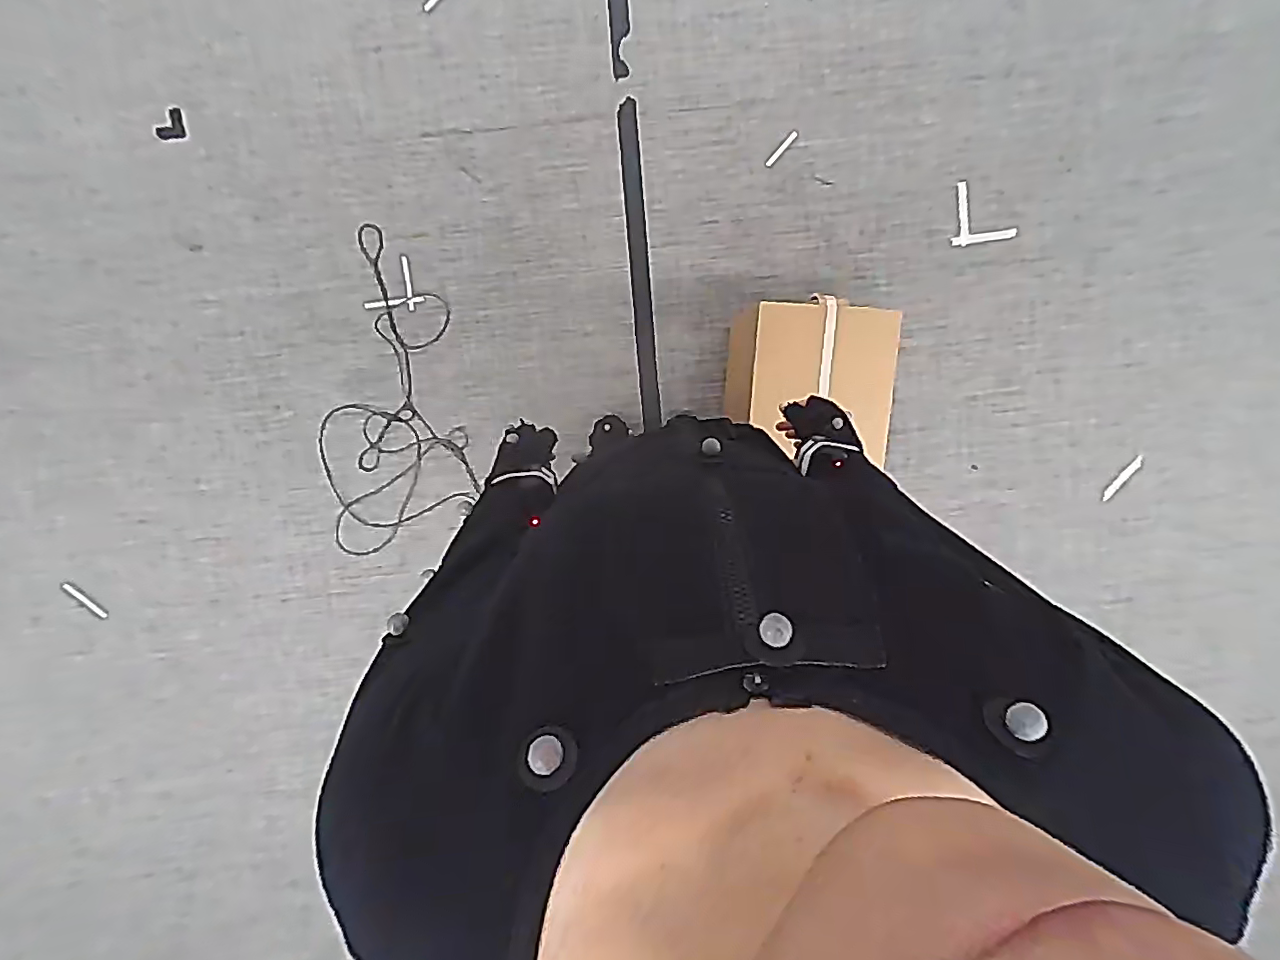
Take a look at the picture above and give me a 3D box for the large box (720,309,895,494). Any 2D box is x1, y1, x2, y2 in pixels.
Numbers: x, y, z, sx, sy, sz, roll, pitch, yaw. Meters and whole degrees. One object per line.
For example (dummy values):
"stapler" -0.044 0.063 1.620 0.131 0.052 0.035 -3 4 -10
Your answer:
"large box" 0.390 -0.193 1.345 0.320 0.320 0.408 3 99 -3
